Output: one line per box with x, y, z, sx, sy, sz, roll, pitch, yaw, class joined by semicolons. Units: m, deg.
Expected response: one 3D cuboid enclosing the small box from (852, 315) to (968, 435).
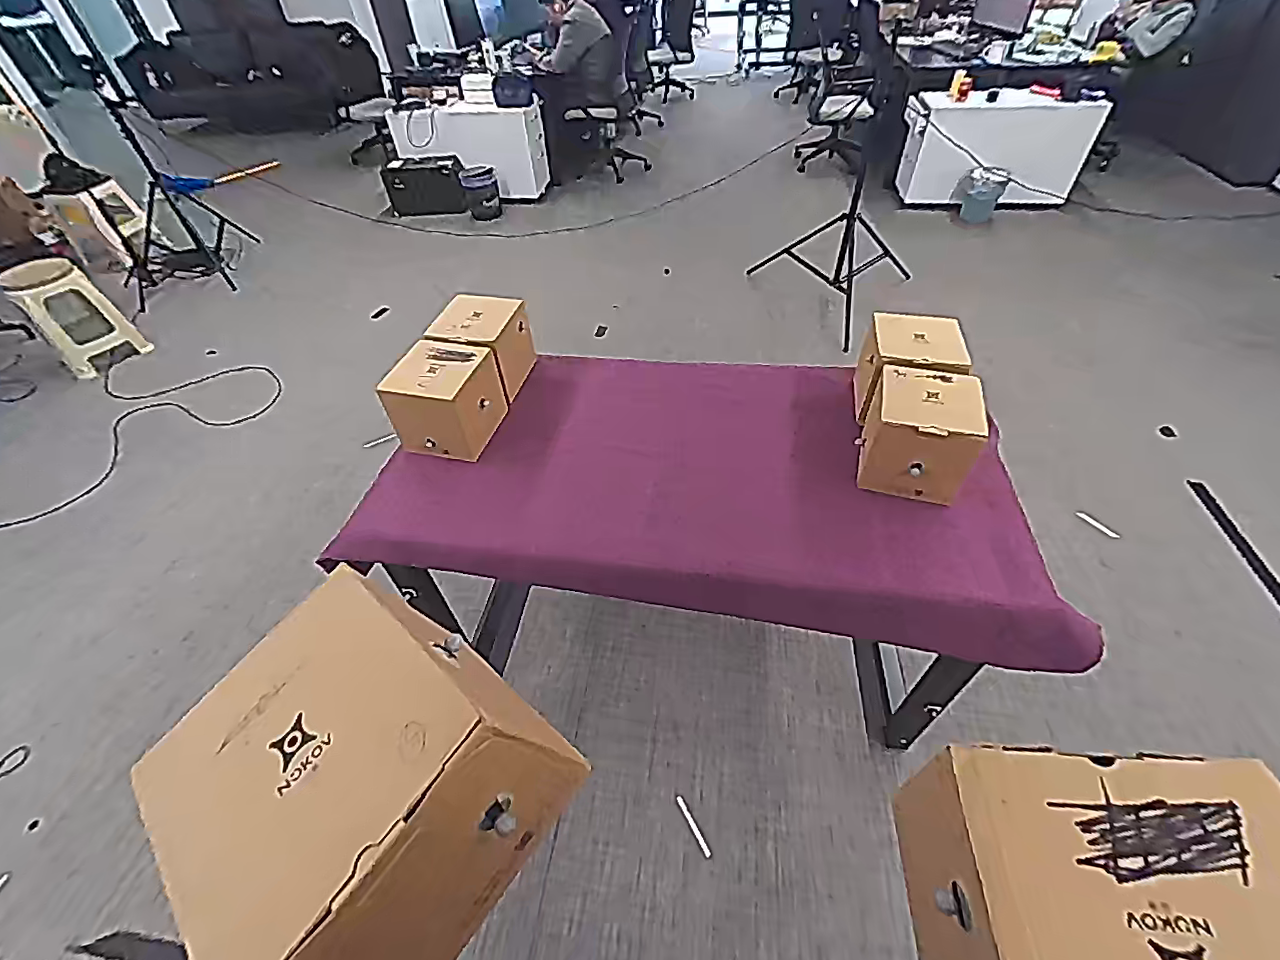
0.548;-0.219;1.125;0.168;0.176;0.179;8;47;10;small box

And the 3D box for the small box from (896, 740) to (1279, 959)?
0.269;0.275;0.323;0.168;0.176;0.179;-2;51;10;small box

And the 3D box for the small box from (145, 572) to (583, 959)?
-0.168;0.200;0.372;0.179;0.176;0.168;27;66;34;small box

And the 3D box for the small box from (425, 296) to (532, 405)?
-0.359;-0.299;1.246;0.168;0.176;0.179;8;48;10;small box
